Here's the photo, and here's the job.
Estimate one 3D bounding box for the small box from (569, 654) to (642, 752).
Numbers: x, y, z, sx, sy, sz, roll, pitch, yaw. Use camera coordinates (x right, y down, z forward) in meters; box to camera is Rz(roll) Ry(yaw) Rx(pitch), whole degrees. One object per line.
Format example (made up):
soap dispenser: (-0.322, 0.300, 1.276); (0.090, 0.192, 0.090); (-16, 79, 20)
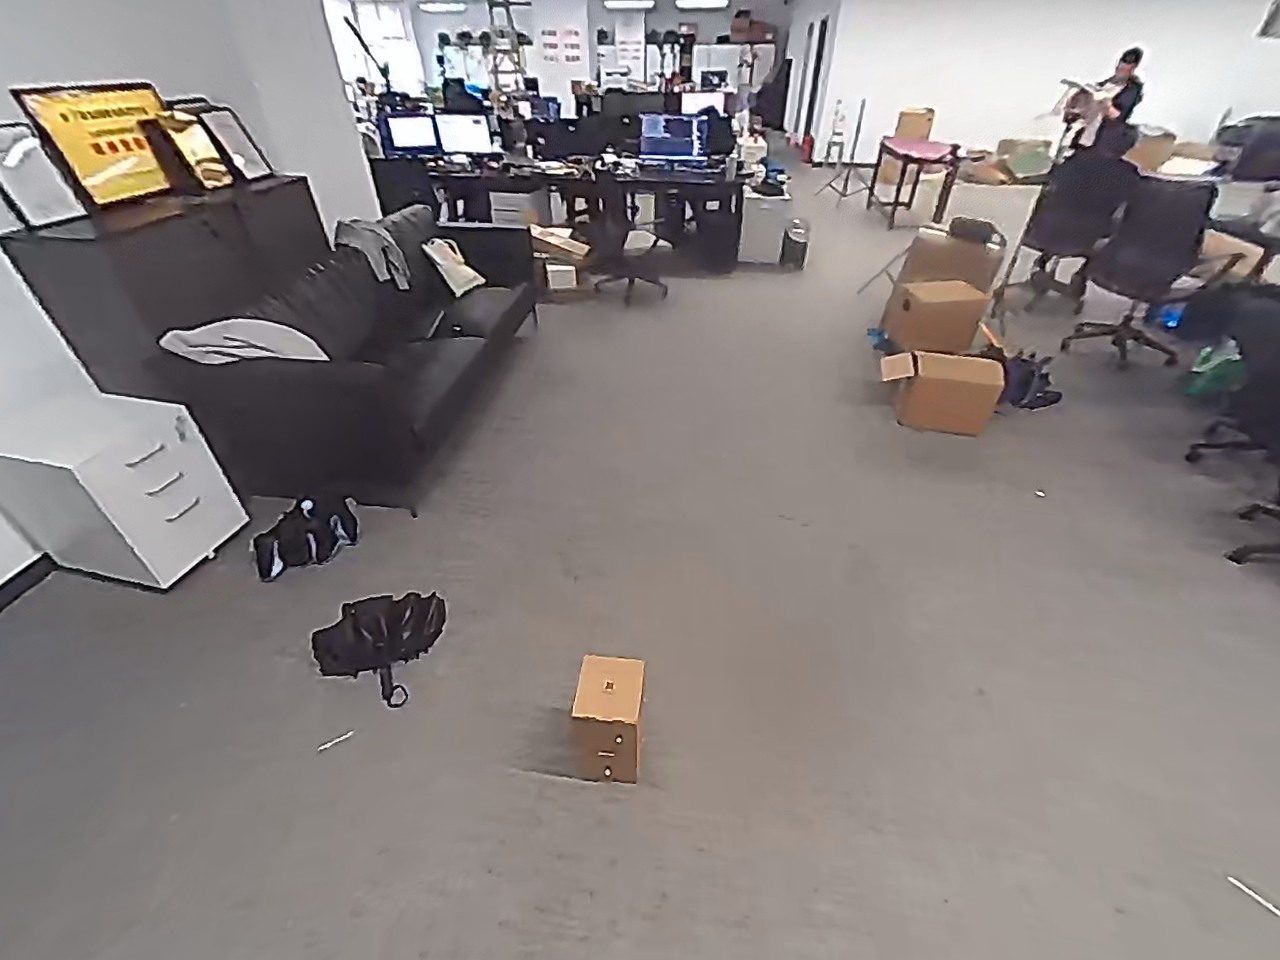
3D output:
small box: (-0.084, 0.584, 1.412); (0.168, 0.176, 0.179); (5, 36, 4)

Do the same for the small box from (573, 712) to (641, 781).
small box: (-0.085, 0.714, 1.511); (0.168, 0.176, 0.179); (3, 38, 4)
